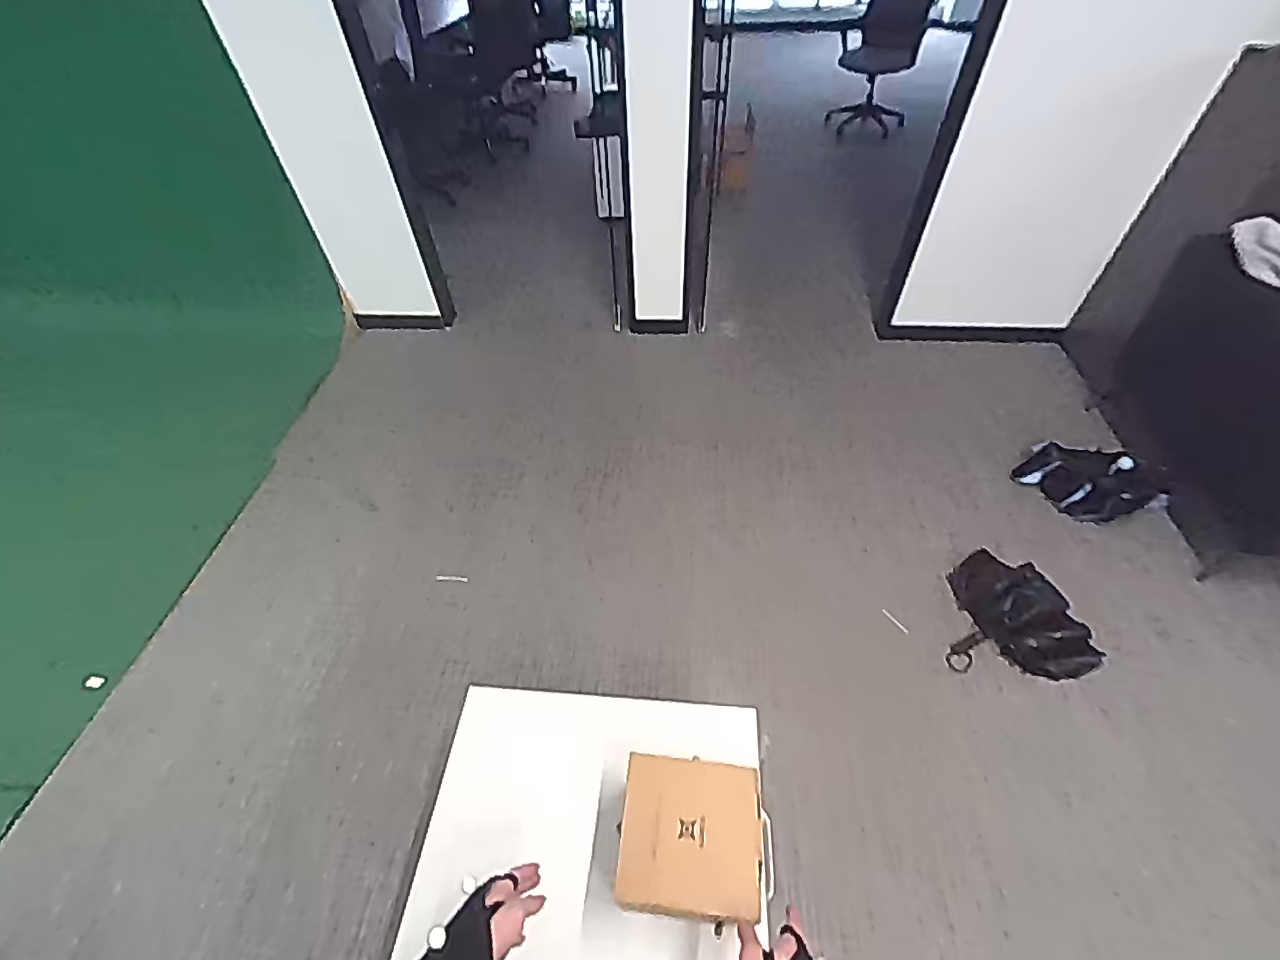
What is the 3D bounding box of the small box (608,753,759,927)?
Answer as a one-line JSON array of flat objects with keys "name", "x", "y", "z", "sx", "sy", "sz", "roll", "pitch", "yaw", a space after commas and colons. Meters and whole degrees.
[{"name": "small box", "x": 0.061, "y": 0.489, "z": 0.732, "sx": 0.179, "sy": 0.176, "sz": 0.168, "roll": 3, "pitch": 48, "yaw": 6}]
